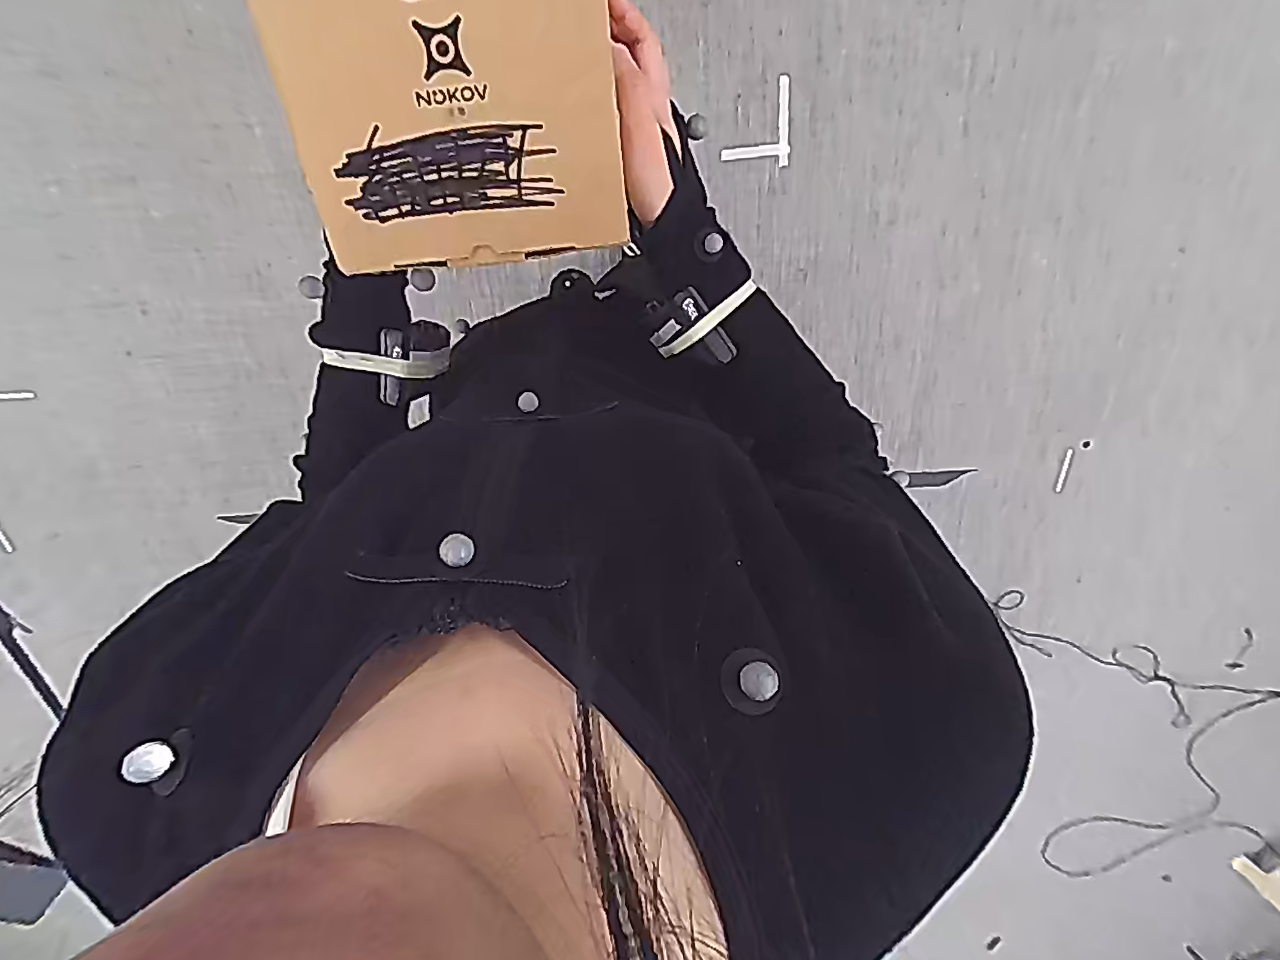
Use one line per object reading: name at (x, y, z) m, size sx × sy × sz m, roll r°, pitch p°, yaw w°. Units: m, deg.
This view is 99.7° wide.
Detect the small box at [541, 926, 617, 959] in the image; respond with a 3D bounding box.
small box at (-0.133, 1.124, 1.187) m, size 0.168 × 0.176 × 0.179 m, roll -2°, pitch 115°, yaw -4°
